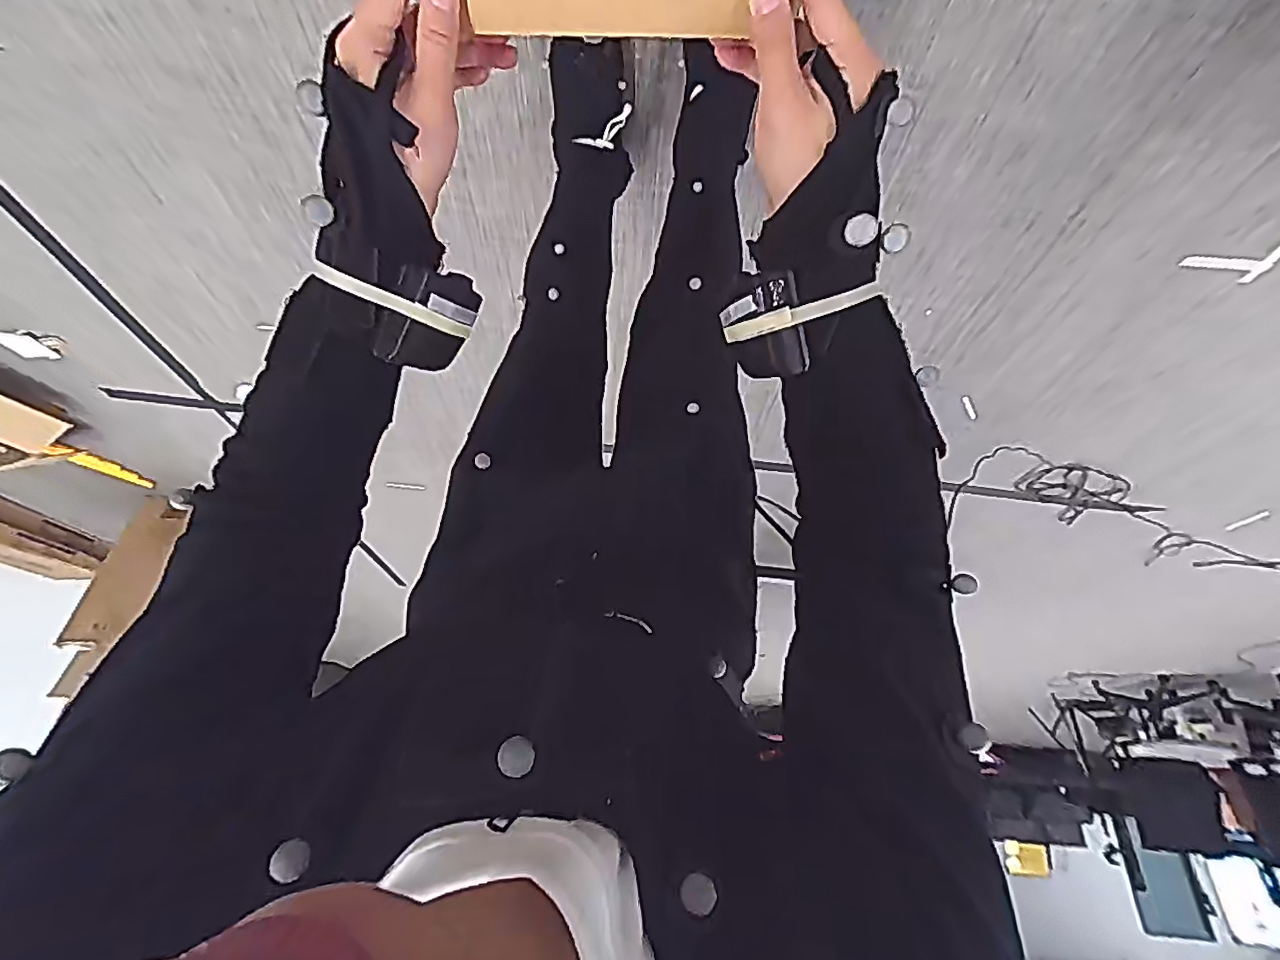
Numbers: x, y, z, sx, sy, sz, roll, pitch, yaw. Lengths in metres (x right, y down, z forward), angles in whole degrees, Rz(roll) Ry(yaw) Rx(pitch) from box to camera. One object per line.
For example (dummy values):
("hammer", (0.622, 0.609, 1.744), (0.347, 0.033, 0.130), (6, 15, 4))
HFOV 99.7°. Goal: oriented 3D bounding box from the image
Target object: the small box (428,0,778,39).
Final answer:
("small box", (-0.016, -0.339, 0.246), (0.179, 0.176, 0.168), (3, 151, 2))
